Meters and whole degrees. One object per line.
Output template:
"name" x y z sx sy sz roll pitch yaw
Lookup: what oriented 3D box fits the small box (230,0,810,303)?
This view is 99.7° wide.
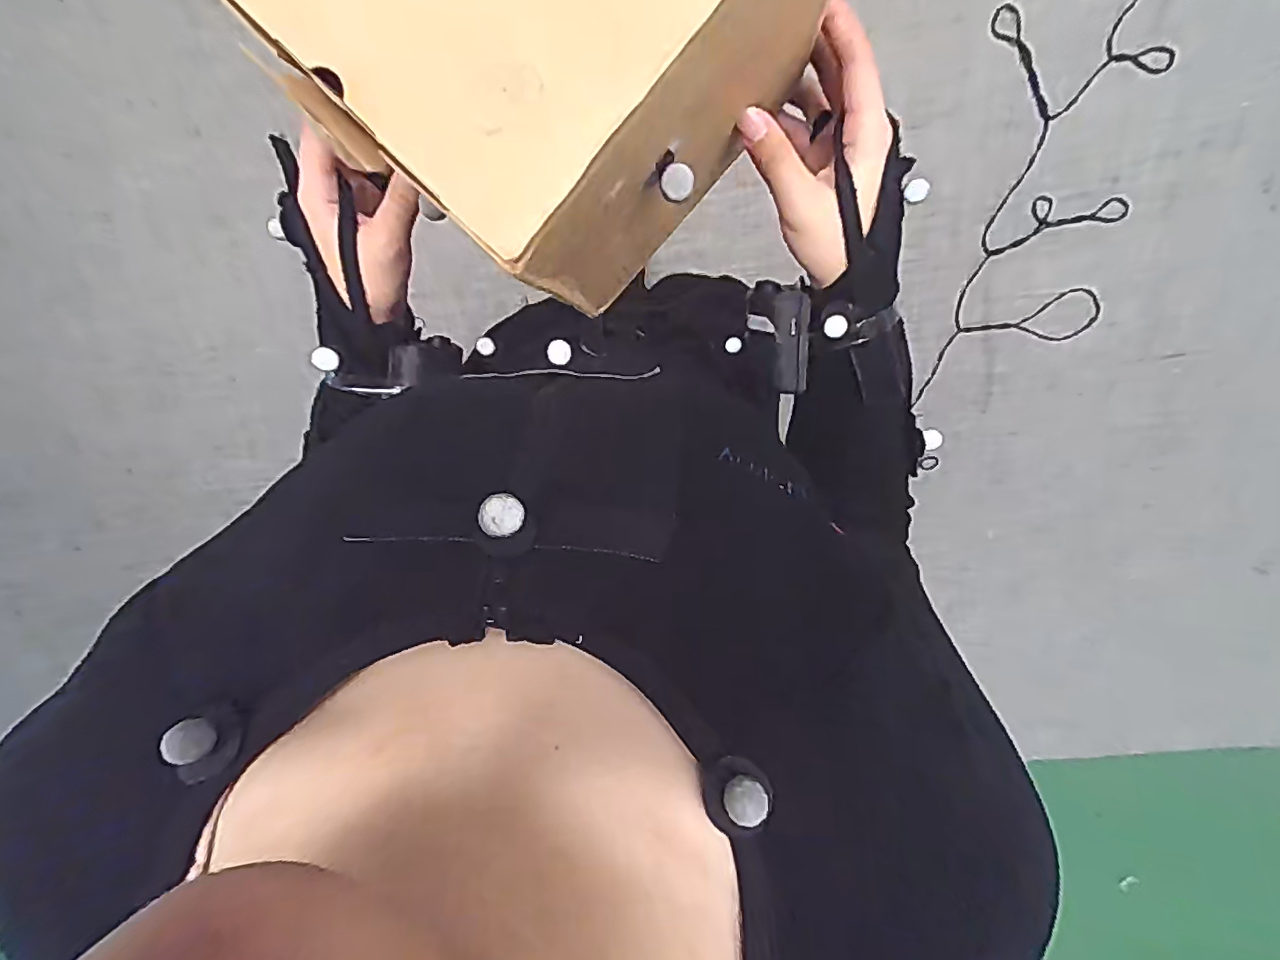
"small box" -0.033 -0.206 0.251 0.168 0.176 0.179 43 102 -4
